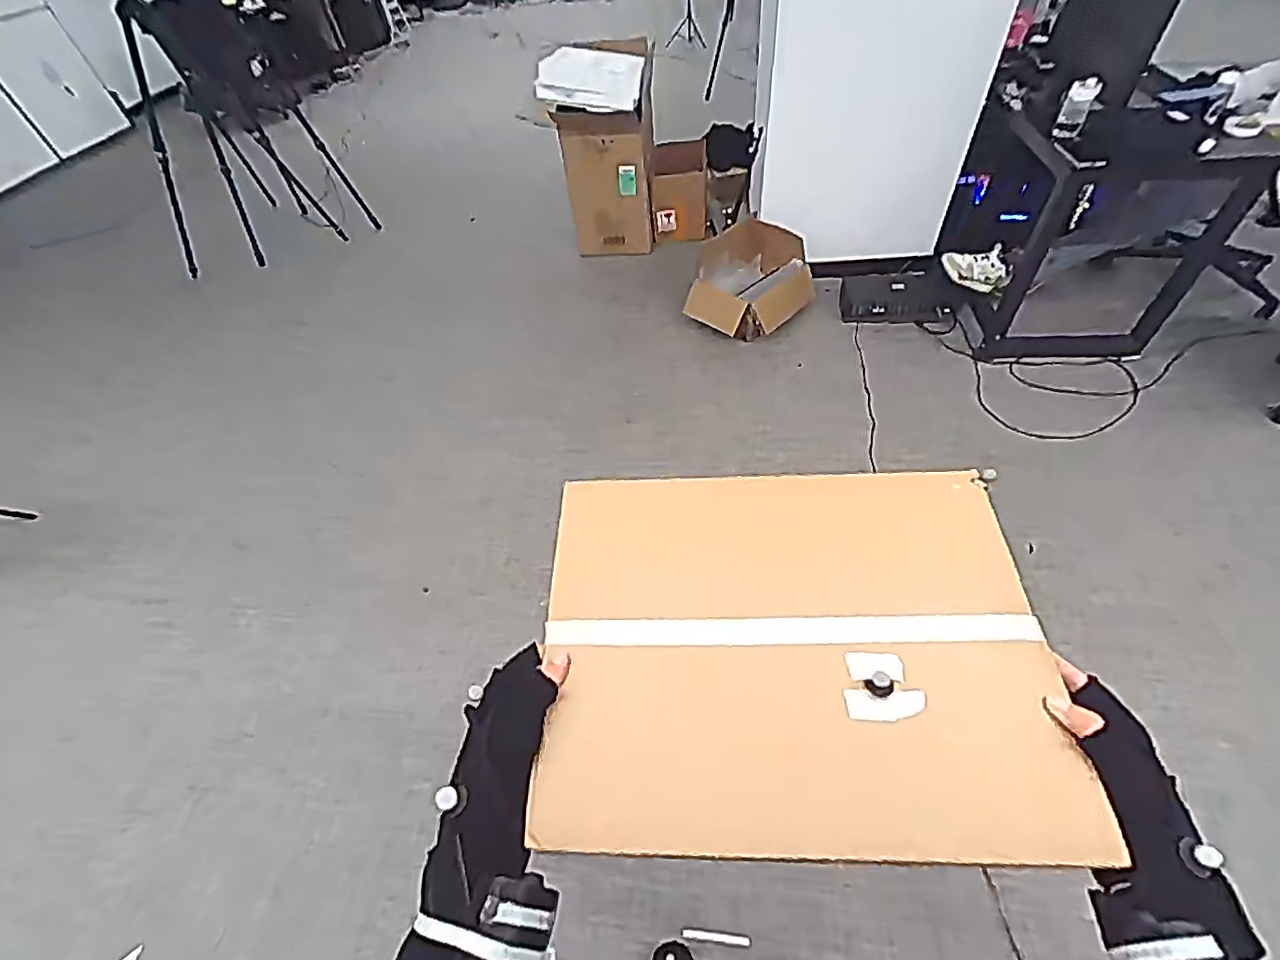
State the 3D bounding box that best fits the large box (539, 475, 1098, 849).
[{"bbox_3d":[0.132,0.213,0.590,0.408,0.320,0.320,-2,56,4],"label":"large box"}]
